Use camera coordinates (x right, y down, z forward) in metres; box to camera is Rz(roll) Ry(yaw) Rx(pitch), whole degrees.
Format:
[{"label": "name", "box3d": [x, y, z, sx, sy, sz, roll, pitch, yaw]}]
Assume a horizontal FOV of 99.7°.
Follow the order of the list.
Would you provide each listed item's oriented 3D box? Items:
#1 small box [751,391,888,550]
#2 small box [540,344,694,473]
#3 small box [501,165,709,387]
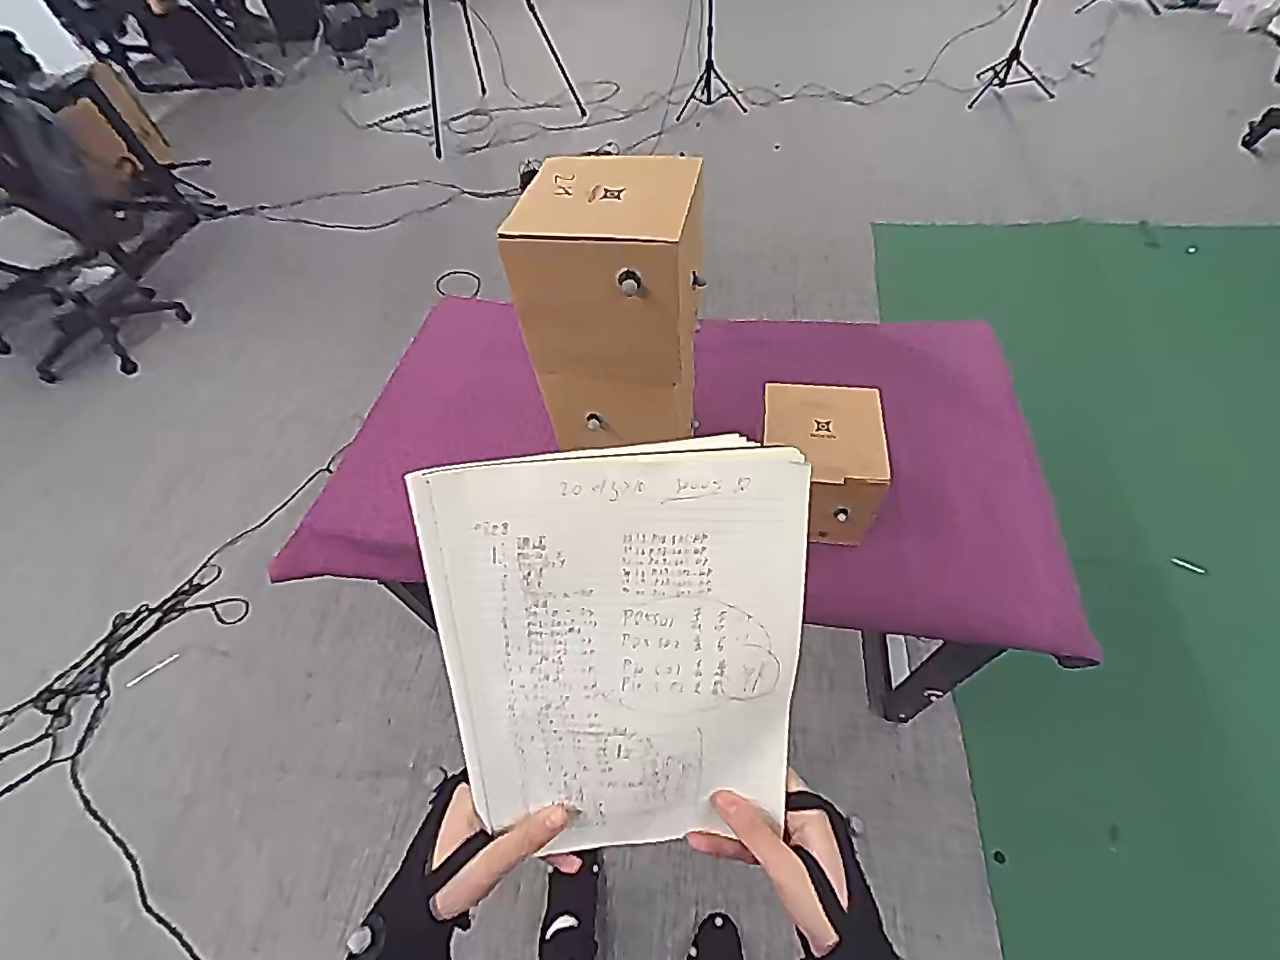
[{"label": "small box", "box3d": [0.263, -0.011, 0.824, 0.168, 0.176, 0.179, 6, 53, 9]}, {"label": "small box", "box3d": [-0.018, -0.127, 0.733, 0.168, 0.176, 0.179, 5, 53, 10]}, {"label": "small box", "box3d": [-0.023, -0.221, 0.597, 0.179, 0.176, 0.168, 7, 53, 11]}]
